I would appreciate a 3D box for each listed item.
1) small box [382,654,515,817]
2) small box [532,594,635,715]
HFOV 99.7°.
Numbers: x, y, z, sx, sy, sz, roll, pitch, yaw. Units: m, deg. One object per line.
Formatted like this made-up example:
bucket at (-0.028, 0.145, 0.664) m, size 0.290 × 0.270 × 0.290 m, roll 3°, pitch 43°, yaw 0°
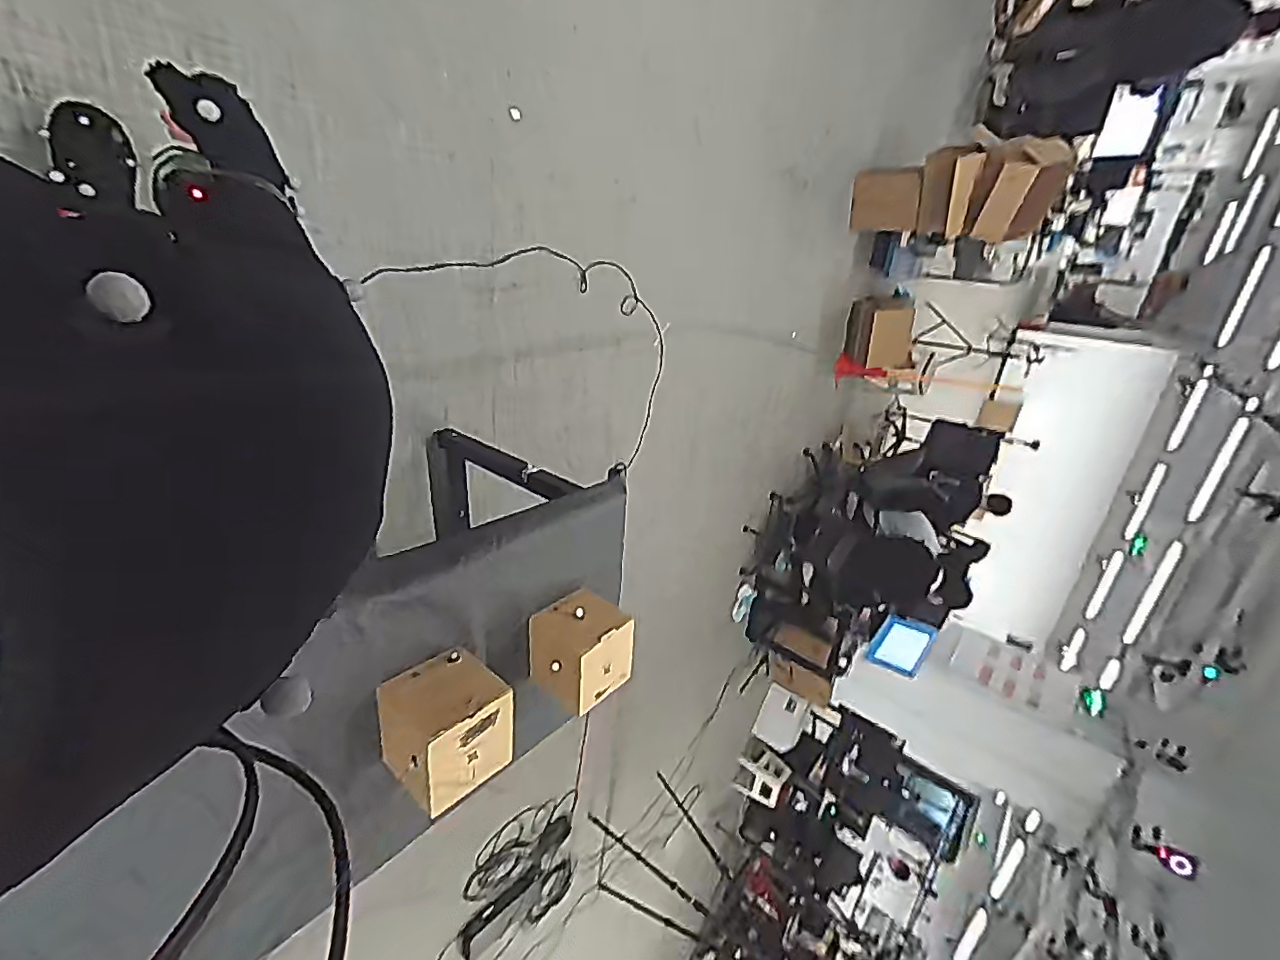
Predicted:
small box at (-0.342, 0.439, 0.967) m, size 0.168 × 0.176 × 0.179 m, roll -19°, pitch 123°, yaw -46°
small box at (-0.128, 0.377, 1.212) m, size 0.168 × 0.176 × 0.179 m, roll -23°, pitch 124°, yaw -44°
